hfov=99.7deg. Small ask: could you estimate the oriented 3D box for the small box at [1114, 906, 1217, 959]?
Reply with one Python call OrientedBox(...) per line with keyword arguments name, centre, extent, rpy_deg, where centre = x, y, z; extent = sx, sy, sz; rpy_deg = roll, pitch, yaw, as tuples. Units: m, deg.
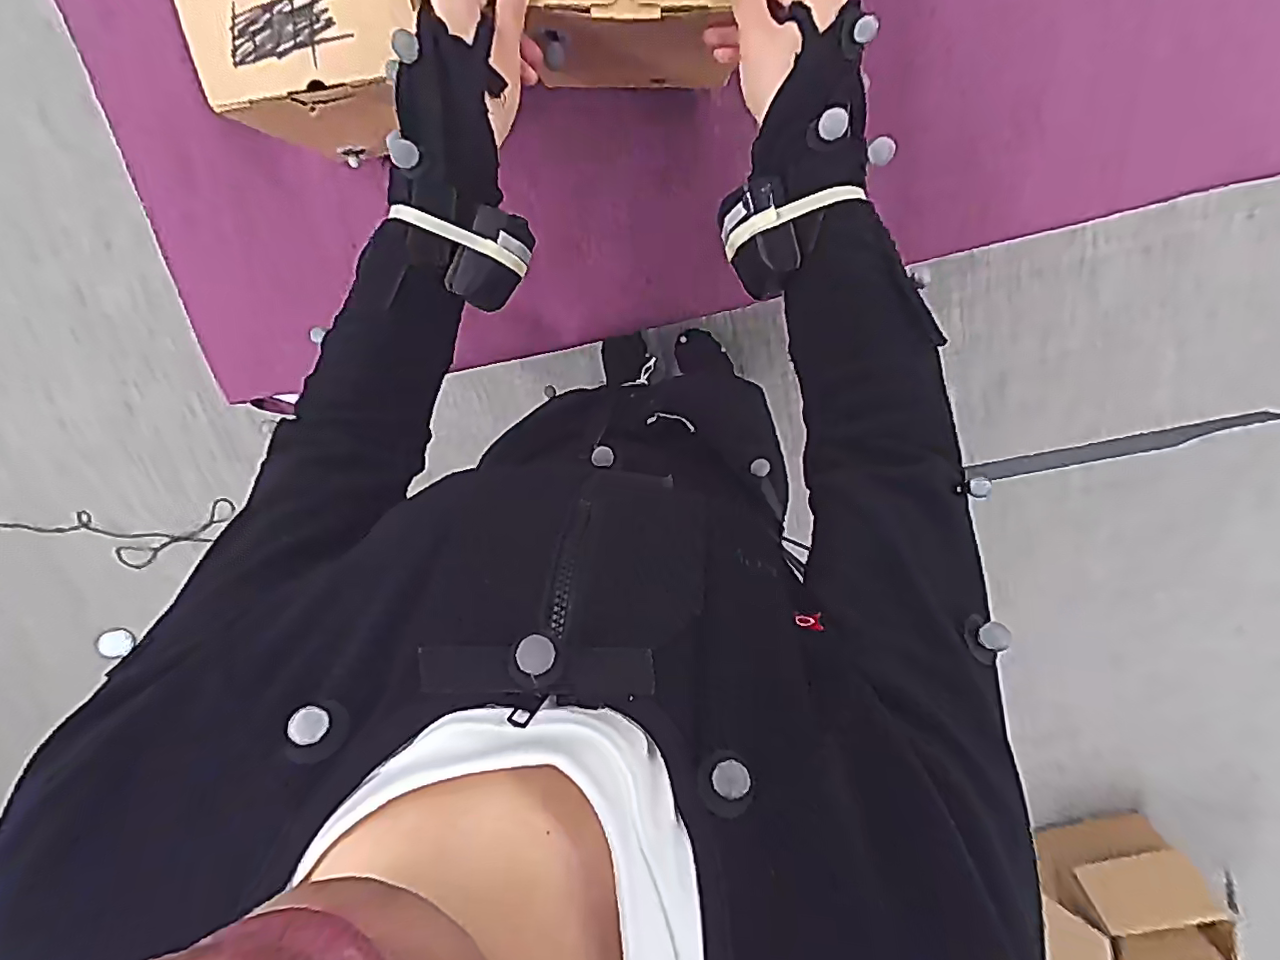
OrientedBox(name="small box", centre=(1.444, 1.316, 1.473), extent=(0.168, 0.176, 0.179), rpy_deg=(-16, 105, 7))
